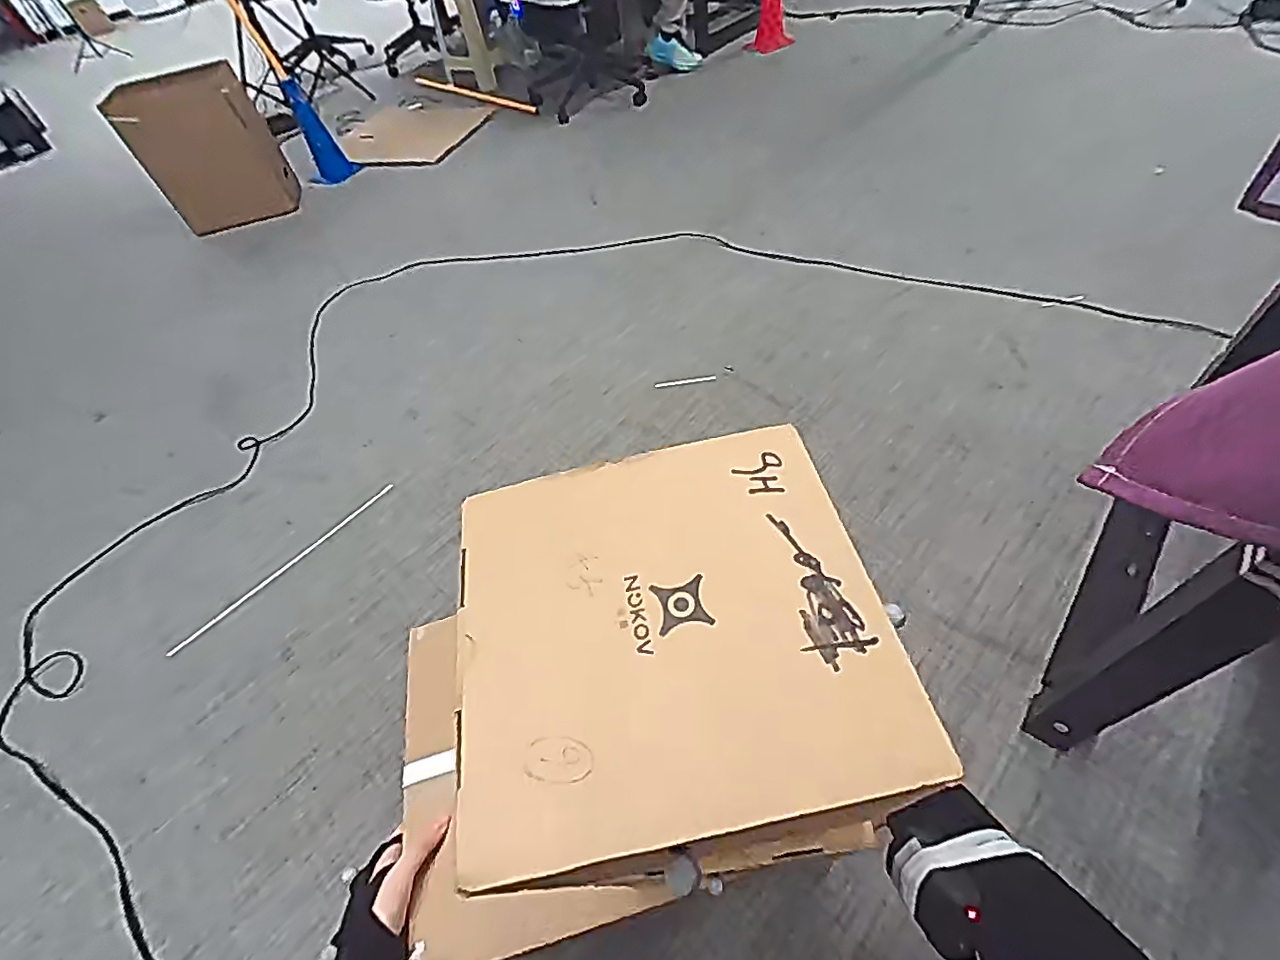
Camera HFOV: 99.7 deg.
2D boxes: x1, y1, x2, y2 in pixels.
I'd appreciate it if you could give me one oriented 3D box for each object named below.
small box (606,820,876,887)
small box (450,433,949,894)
[{"bbox_3d":[0.055,0.200,0.421,0.168,0.176,0.179,-10,54,3],"label":"small box"},{"bbox_3d":[0.019,0.105,0.291,0.179,0.176,0.168,-13,54,1],"label":"small box"}]
